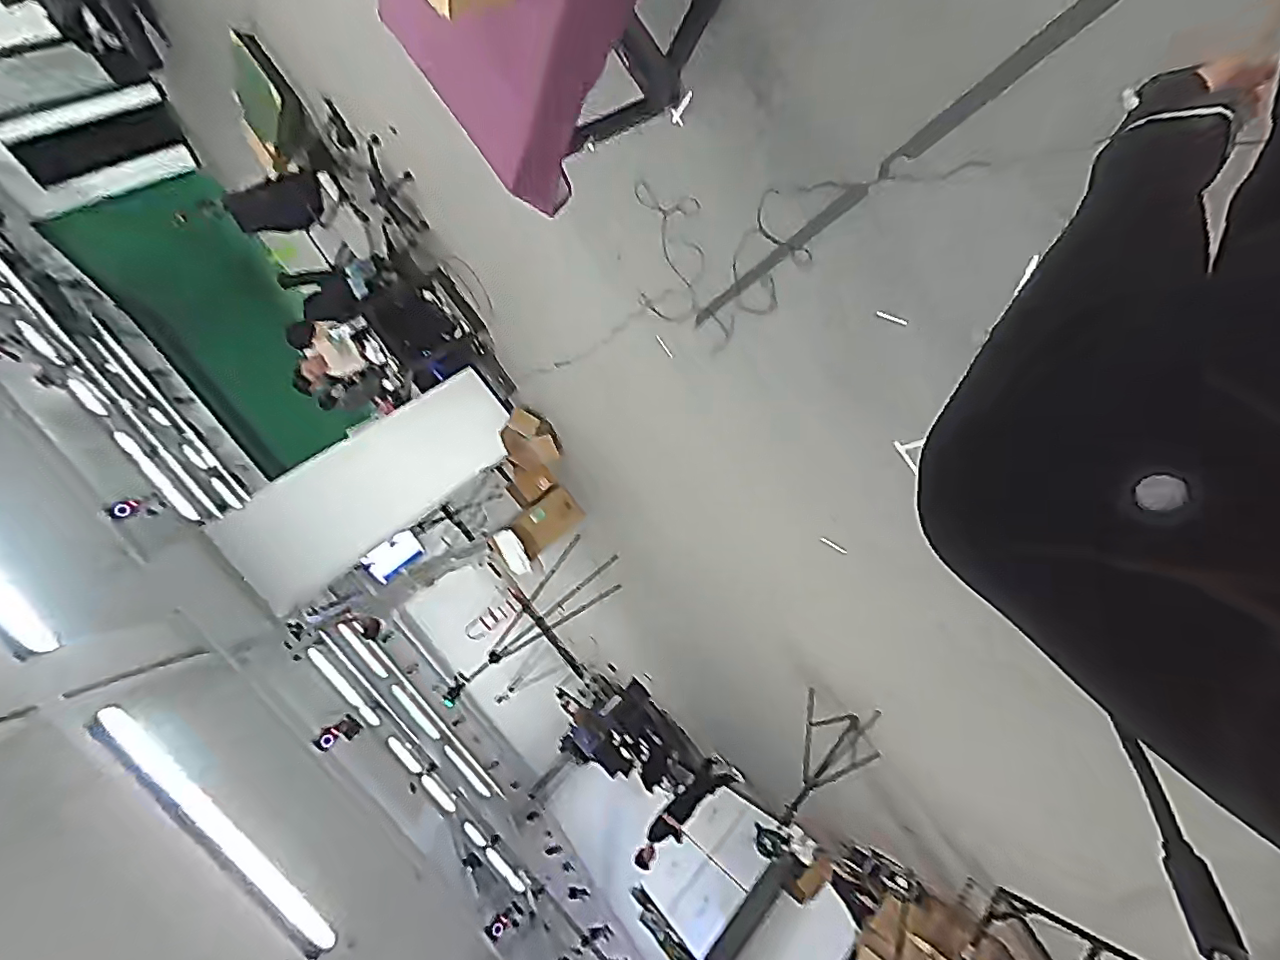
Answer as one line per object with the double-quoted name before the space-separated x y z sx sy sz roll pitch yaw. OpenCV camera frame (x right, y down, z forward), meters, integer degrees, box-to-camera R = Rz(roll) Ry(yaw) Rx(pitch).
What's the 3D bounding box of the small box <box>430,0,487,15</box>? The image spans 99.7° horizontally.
"small box" -0.363 -1.063 1.041 0.168 0.176 0.179 49 155 2
